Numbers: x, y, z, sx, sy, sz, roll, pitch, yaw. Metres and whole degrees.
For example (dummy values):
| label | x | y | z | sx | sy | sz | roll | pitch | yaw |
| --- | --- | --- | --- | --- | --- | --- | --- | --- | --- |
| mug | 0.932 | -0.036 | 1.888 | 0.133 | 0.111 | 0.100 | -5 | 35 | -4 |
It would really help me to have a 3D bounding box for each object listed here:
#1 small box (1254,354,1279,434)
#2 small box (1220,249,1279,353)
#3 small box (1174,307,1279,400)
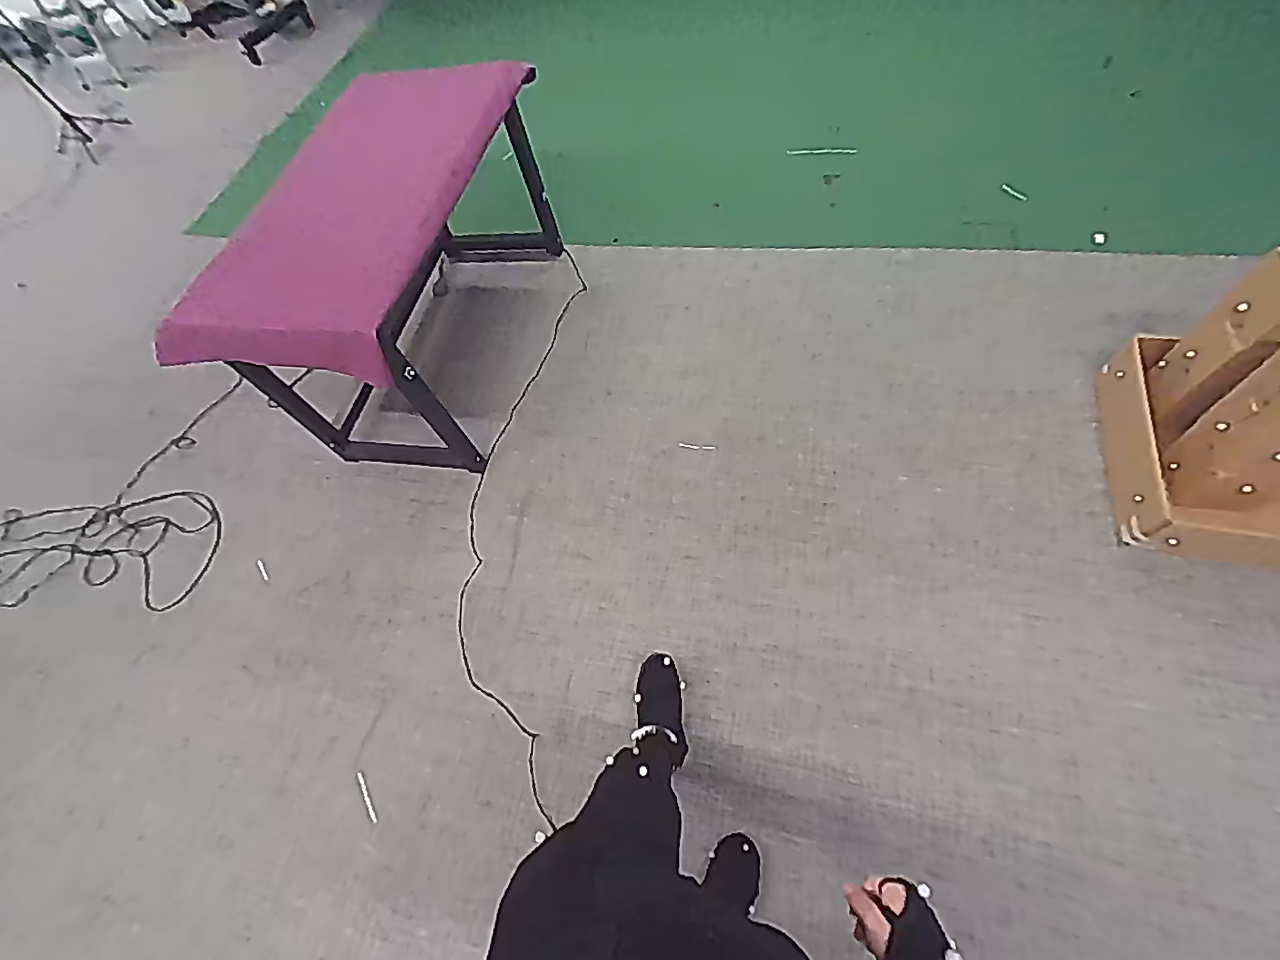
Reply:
| label | x | y | z | sx | sy | sz | roll | pitch | yaw |
| --- | --- | --- | --- | --- | --- | --- | --- | --- | --- |
| small box | 1.460 | -0.193 | 1.133 | 0.179 | 0.176 | 0.168 | 11 | 62 | 17 |
| small box | 1.512 | -0.405 | 1.234 | 0.179 | 0.176 | 0.168 | 3 | 63 | 12 |
| small box | 1.531 | -0.320 | 1.374 | 0.179 | 0.176 | 0.168 | 8 | 64 | 14 |
